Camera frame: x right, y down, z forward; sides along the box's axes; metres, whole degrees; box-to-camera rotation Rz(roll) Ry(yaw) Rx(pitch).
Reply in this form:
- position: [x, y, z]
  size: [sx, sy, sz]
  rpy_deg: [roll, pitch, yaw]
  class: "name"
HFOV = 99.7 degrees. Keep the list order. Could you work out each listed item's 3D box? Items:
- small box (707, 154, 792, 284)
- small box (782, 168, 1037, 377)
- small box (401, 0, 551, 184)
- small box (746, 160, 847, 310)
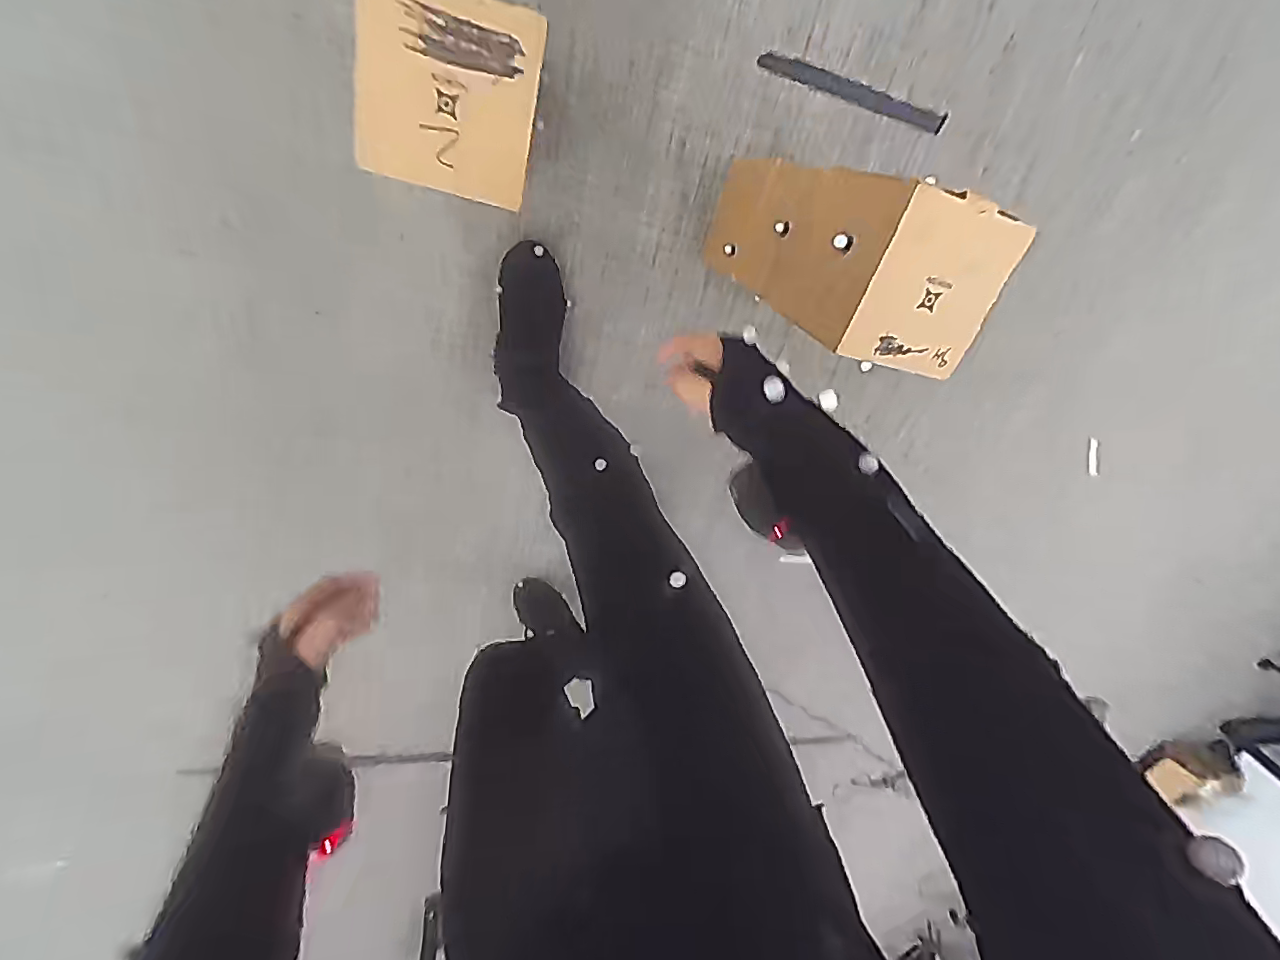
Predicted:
- position: [0.231, -0.423, 0.904]
  size: [0.168, 0.176, 0.179]
  rpy_deg: [9, 121, -20]
  class: "small box"
- position: [0.294, -0.246, 0.634]
  size: [0.168, 0.176, 0.179]
  rpy_deg: [8, 120, -19]
  class: "small box"
- position: [-0.219, -0.519, 0.724]
  size: [0.168, 0.176, 0.179]
  rpy_deg: [5, 121, -17]
  class: "small box"
- position: [0.272, -0.333, 0.773]
  size: [0.168, 0.176, 0.179]
  rpy_deg: [8, 121, -20]
  class: "small box"
